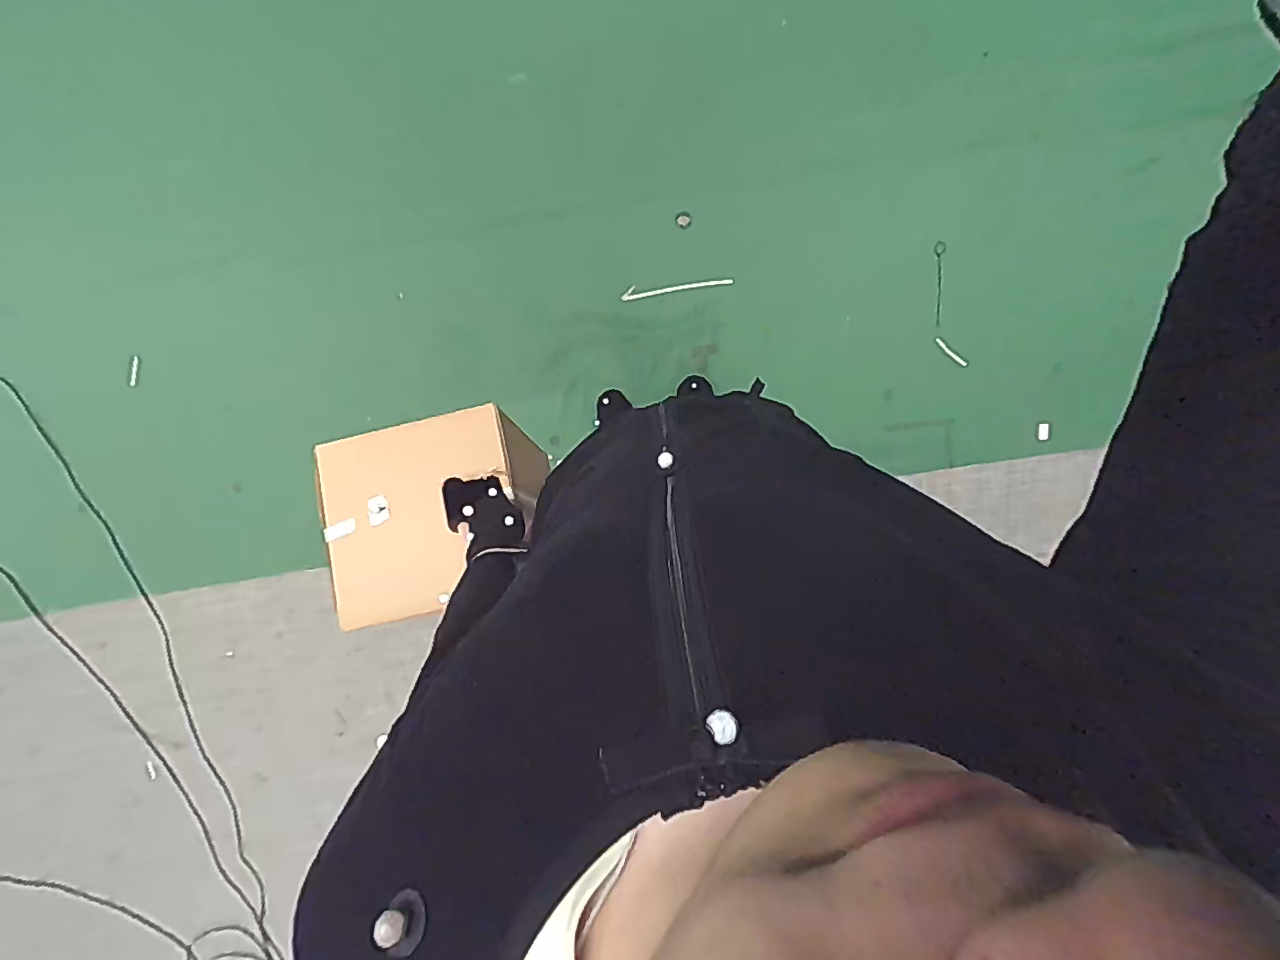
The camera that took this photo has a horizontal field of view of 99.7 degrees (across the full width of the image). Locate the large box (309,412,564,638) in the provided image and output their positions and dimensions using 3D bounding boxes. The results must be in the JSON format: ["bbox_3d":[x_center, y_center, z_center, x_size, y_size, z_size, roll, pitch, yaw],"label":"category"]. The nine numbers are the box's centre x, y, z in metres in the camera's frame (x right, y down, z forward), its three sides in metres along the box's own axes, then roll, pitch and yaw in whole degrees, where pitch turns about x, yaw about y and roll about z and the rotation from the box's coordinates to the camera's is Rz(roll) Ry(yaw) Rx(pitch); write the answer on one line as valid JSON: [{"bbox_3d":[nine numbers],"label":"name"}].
[{"bbox_3d":[-0.360,0.097,1.055,0.320,0.408,0.320,-13,80,-1],"label":"large box"}]
